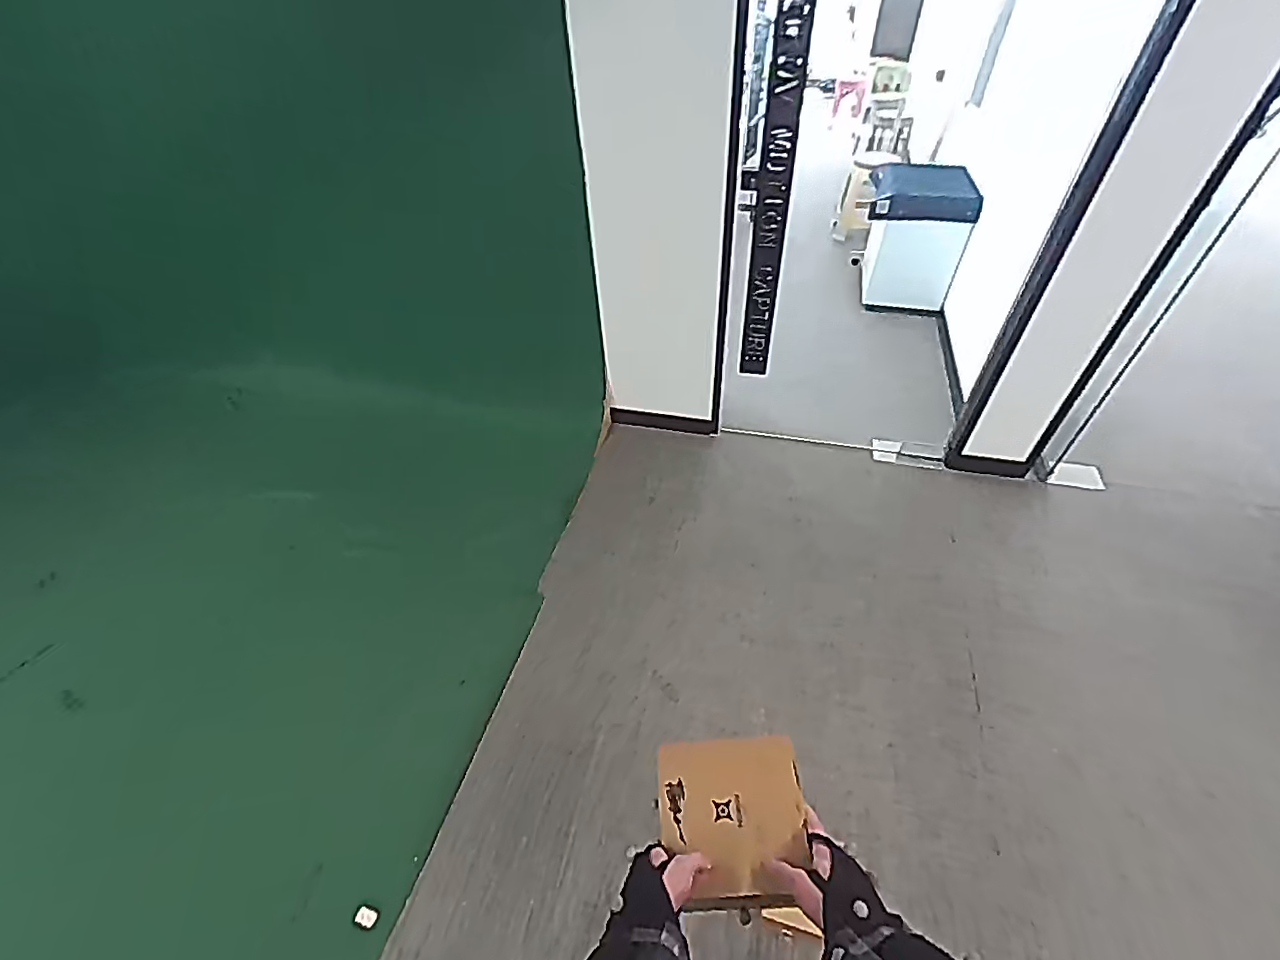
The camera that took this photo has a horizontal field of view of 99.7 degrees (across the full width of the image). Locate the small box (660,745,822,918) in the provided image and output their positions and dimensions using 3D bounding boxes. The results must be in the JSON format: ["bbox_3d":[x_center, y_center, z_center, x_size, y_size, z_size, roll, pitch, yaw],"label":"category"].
[{"bbox_3d":[0.122,0.460,0.706,0.179,0.176,0.168,-6,47,5],"label":"small box"}]

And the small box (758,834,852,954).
[{"bbox_3d":[0.356,0.891,1.180,0.168,0.176,0.179,10,47,16],"label":"small box"}]
